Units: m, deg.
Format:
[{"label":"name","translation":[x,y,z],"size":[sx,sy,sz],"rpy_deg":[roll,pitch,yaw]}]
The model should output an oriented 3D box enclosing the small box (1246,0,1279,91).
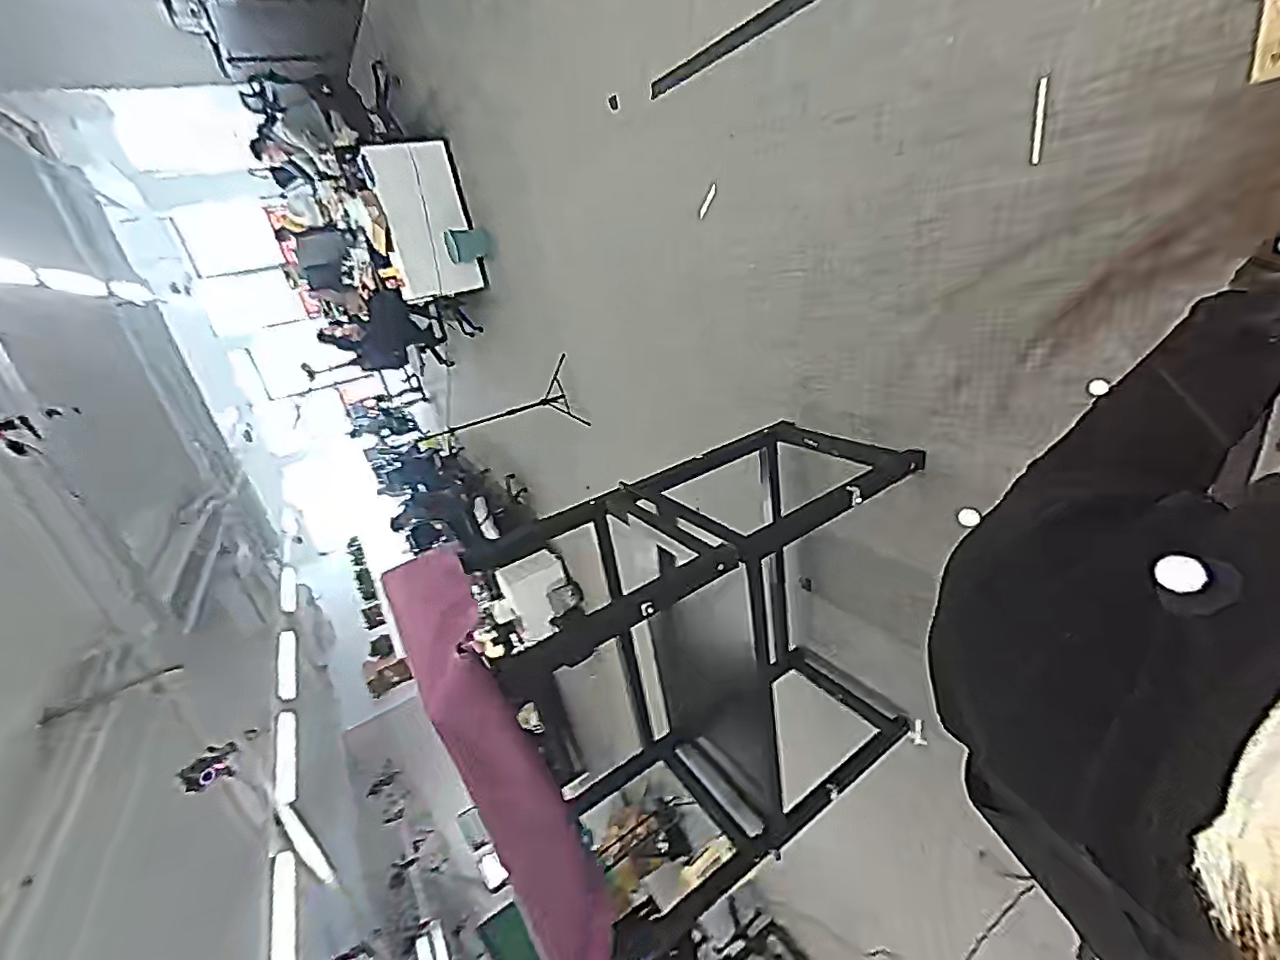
[{"label":"small box","translation":[0.854,-0.570,0.613],"size":[0.179,0.176,0.168],"rpy_deg":[20,127,54]}]
